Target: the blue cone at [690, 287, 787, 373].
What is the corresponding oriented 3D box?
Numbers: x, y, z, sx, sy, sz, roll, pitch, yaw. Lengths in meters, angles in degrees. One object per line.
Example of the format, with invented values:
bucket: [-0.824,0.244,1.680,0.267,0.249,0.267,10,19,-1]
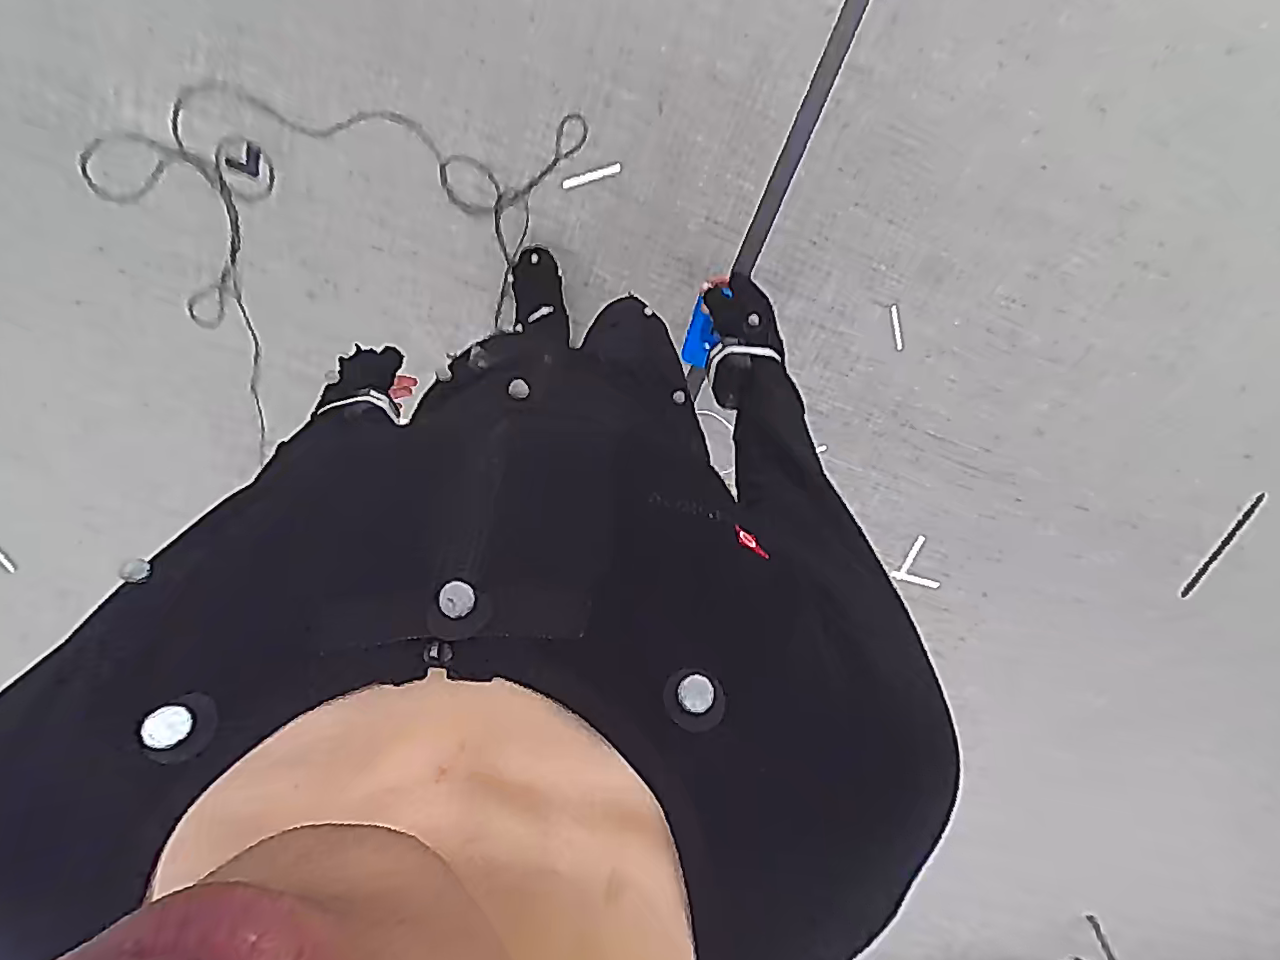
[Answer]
blue cone: [0.246,-0.321,1.234,0.192,0.380,0.193,15,110,-11]
